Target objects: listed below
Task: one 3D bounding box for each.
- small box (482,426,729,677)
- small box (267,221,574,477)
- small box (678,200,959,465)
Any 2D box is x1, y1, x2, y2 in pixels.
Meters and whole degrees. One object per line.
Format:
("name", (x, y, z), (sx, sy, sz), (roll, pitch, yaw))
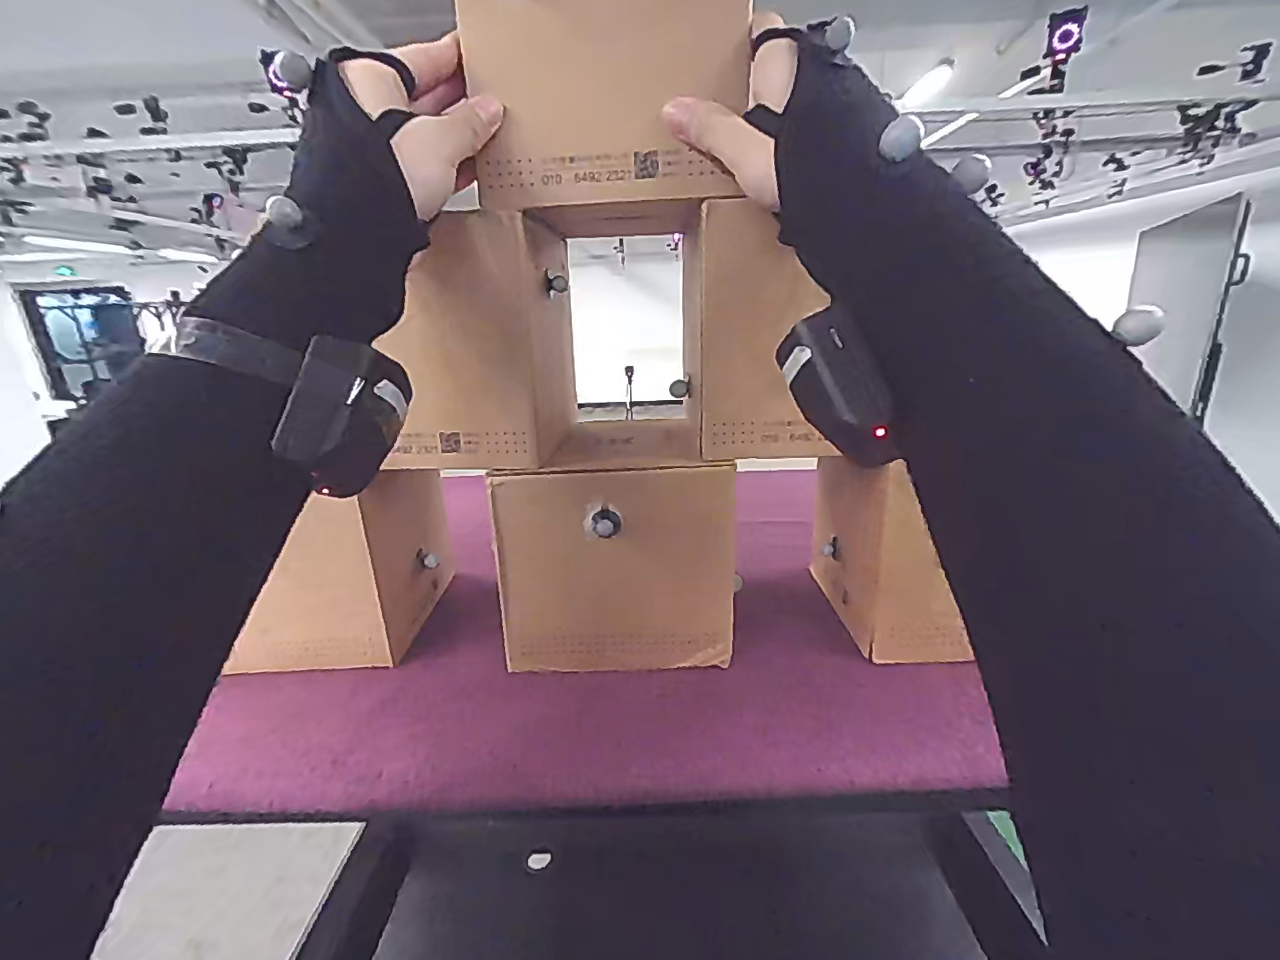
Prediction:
("small box", (-0.018, 0.053, 0.471), (0.179, 0.176, 0.168), (-2, 17, 2))
("small box", (-0.149, -0.103, 0.440), (0.168, 0.176, 0.179), (0, 17, 2))
("small box", (0.119, -0.111, 0.431), (0.168, 0.176, 0.179), (-2, 18, 1))
